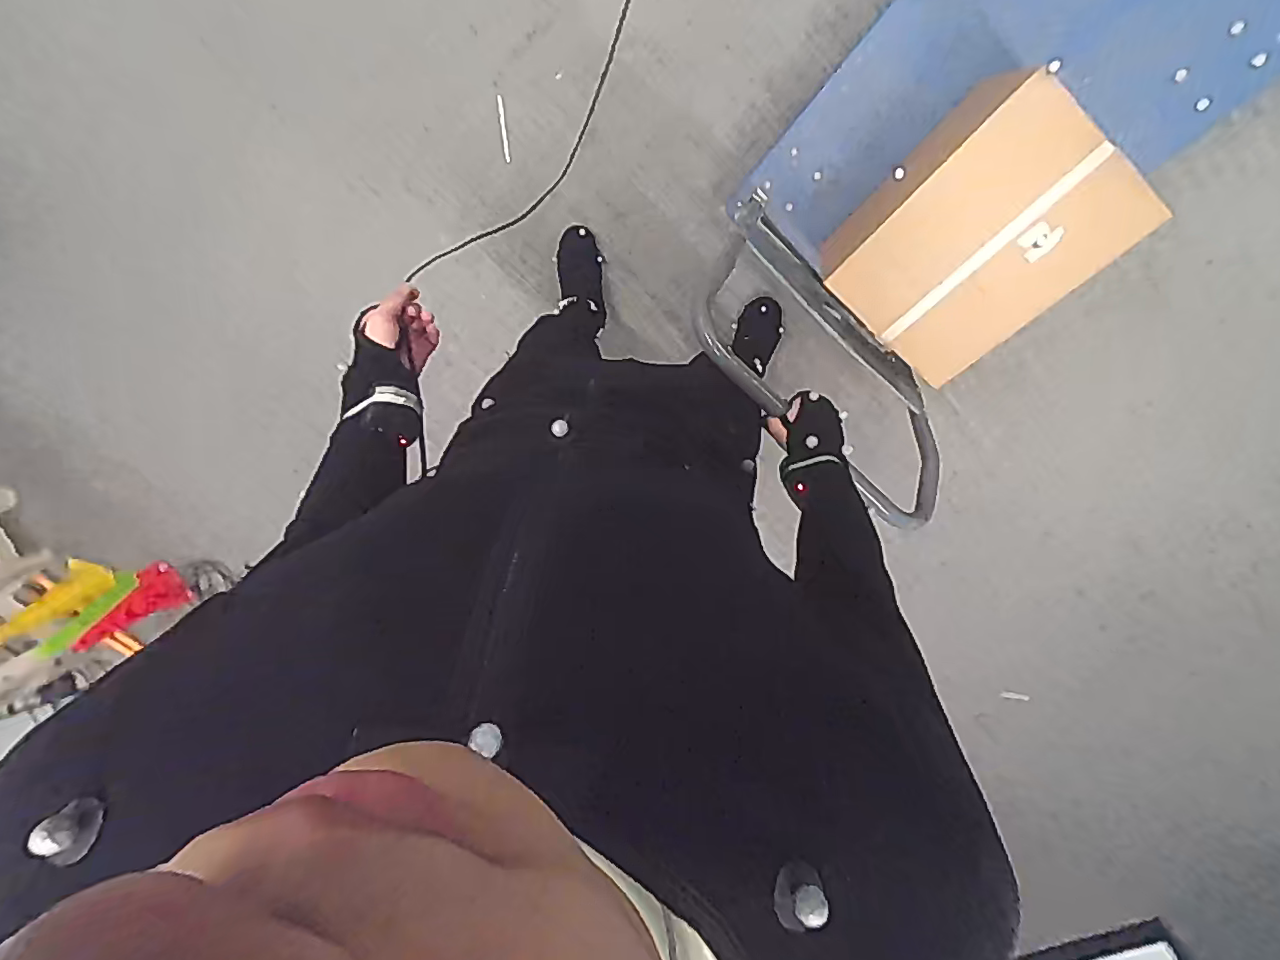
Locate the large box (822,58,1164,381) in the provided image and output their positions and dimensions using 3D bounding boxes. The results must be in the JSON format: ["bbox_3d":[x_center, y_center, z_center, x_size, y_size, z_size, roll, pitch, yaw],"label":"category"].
[{"bbox_3d":[0.604,-0.474,1.026,0.320,0.320,0.408,39,125,-12],"label":"large box"}]
